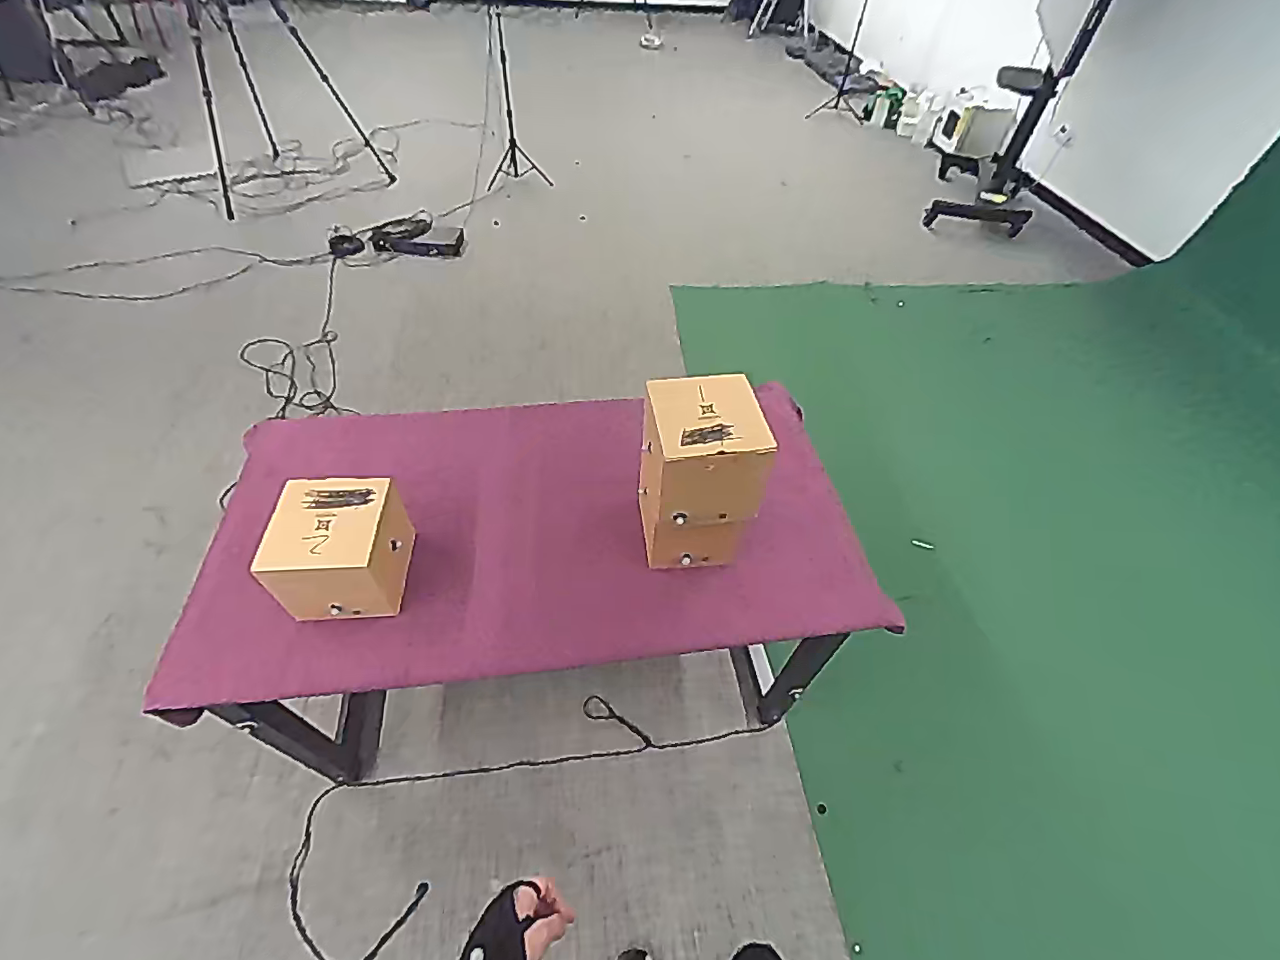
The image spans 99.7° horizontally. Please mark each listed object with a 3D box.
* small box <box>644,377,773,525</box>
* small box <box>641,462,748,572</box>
[{"bbox_3d":[0.098,-0.041,0.869,0.168,0.176,0.179,-5,49,-6],"label":"small box"},{"bbox_3d":[0.091,0.050,1.006,0.168,0.176,0.179,-3,50,-5],"label":"small box"}]
